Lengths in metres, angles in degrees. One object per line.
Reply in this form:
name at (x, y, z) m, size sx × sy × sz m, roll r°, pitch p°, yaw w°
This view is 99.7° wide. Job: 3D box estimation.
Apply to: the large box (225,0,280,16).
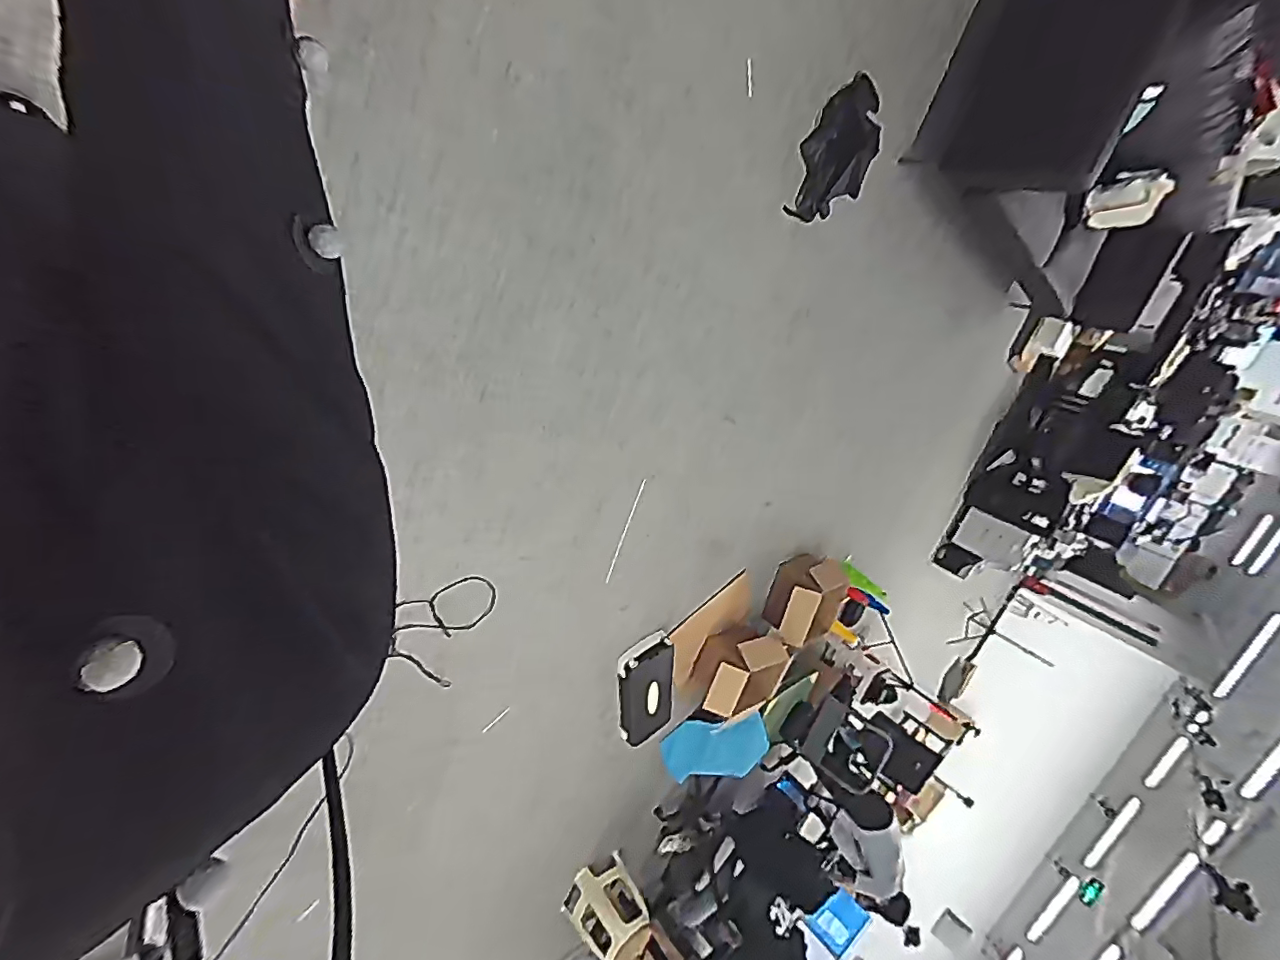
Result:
large box at (-0.634, -0.895, 0.662) m, size 0.408 × 0.320 × 0.320 m, roll 14°, pitch 106°, yaw -49°
